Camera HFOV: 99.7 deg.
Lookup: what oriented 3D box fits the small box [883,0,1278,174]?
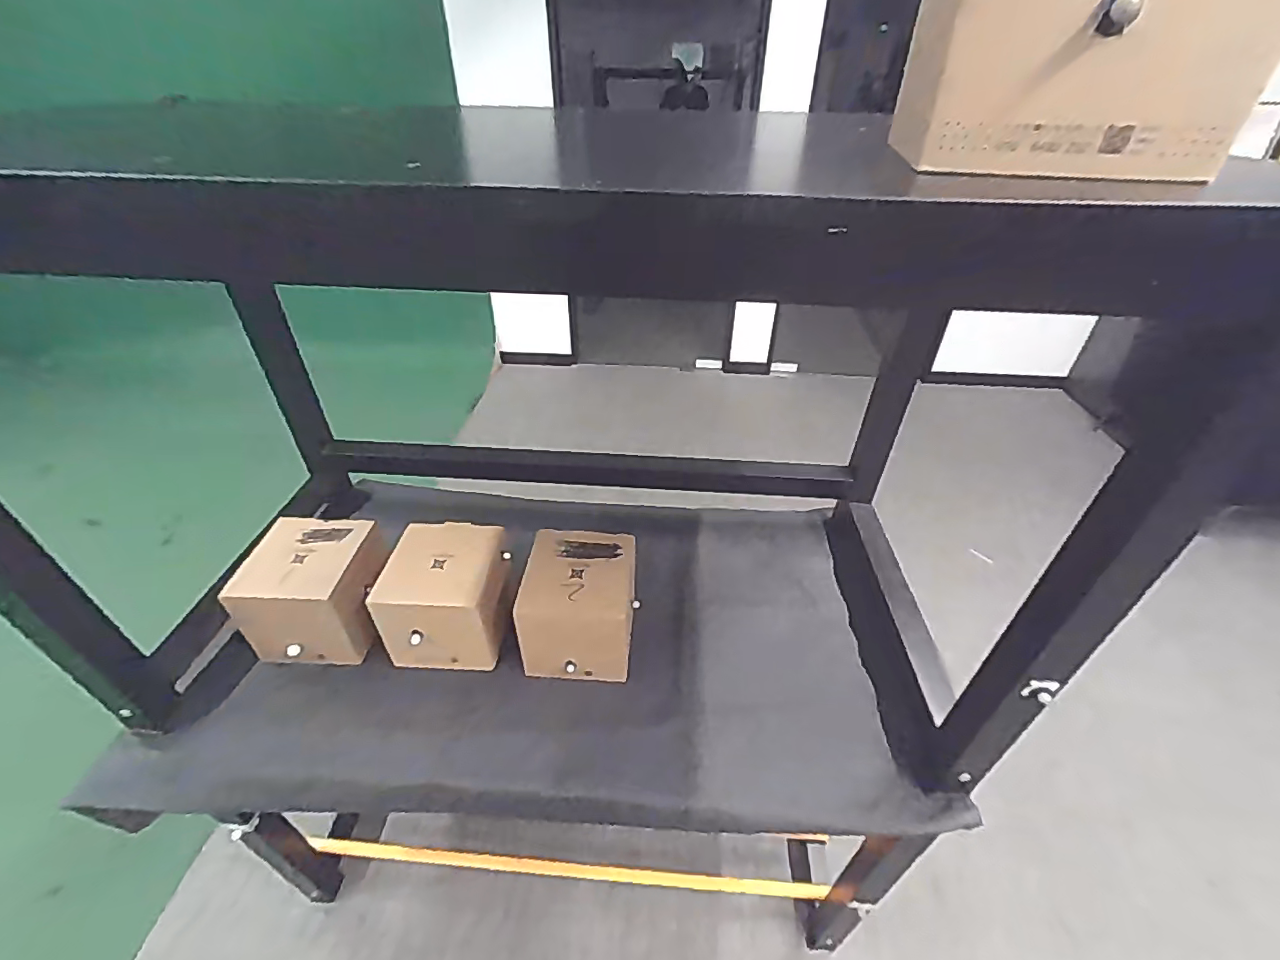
[{"bbox_3d":[0.269,-0.305,0.348,0.168,0.176,0.179,9,38,11],"label":"small box"}]

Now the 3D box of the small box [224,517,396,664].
[{"bbox_3d":[-0.532,0.182,0.908,0.168,0.176,0.179,1,38,1],"label":"small box"}]
